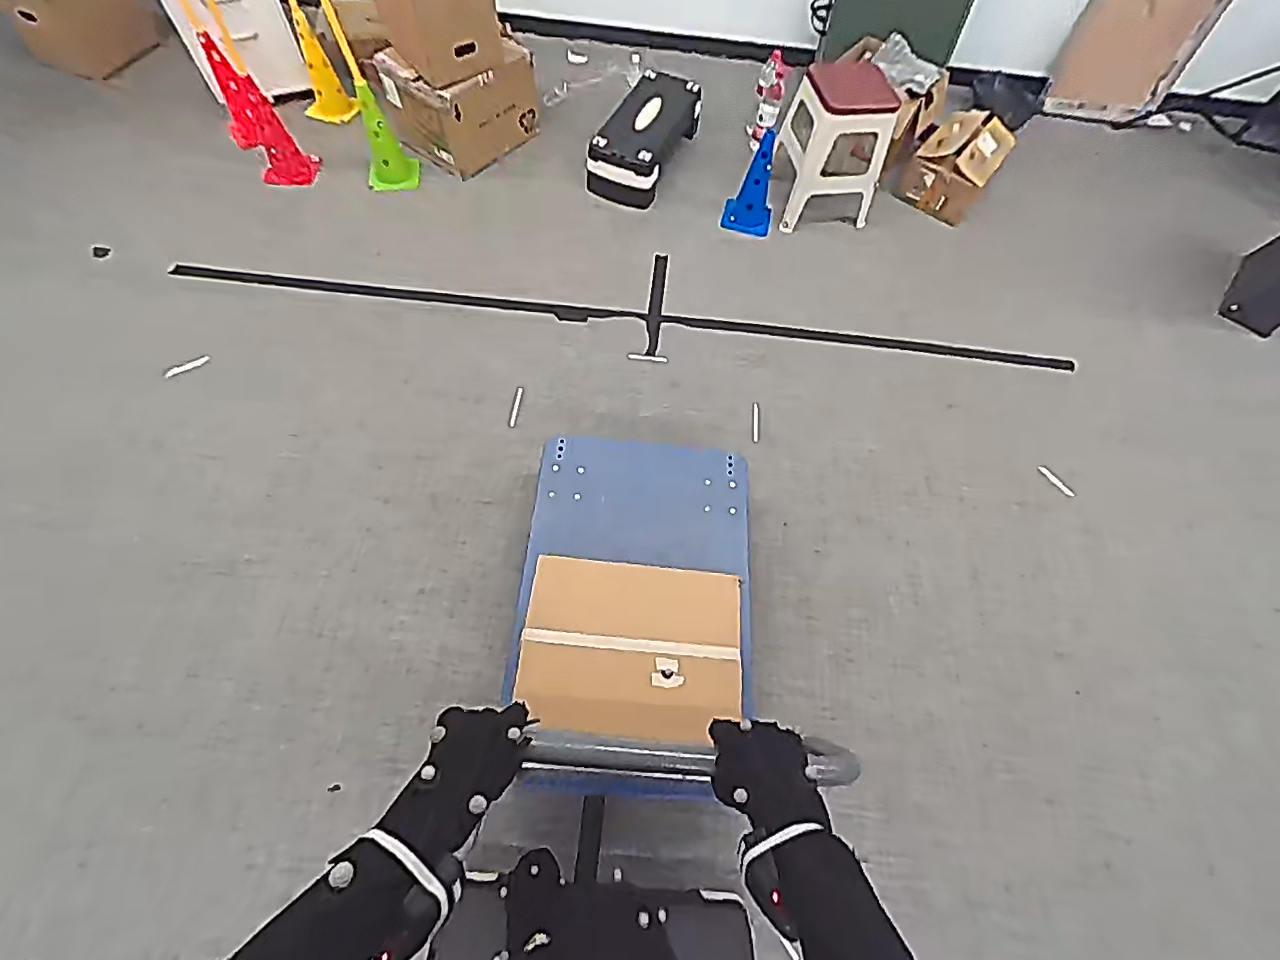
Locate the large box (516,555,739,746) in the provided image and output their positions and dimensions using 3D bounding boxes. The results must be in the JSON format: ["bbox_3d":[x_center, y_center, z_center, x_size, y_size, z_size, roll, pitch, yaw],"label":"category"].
[{"bbox_3d":[-0.026,0.375,1.151,0.408,0.320,0.320,7,62,-2],"label":"large box"}]
